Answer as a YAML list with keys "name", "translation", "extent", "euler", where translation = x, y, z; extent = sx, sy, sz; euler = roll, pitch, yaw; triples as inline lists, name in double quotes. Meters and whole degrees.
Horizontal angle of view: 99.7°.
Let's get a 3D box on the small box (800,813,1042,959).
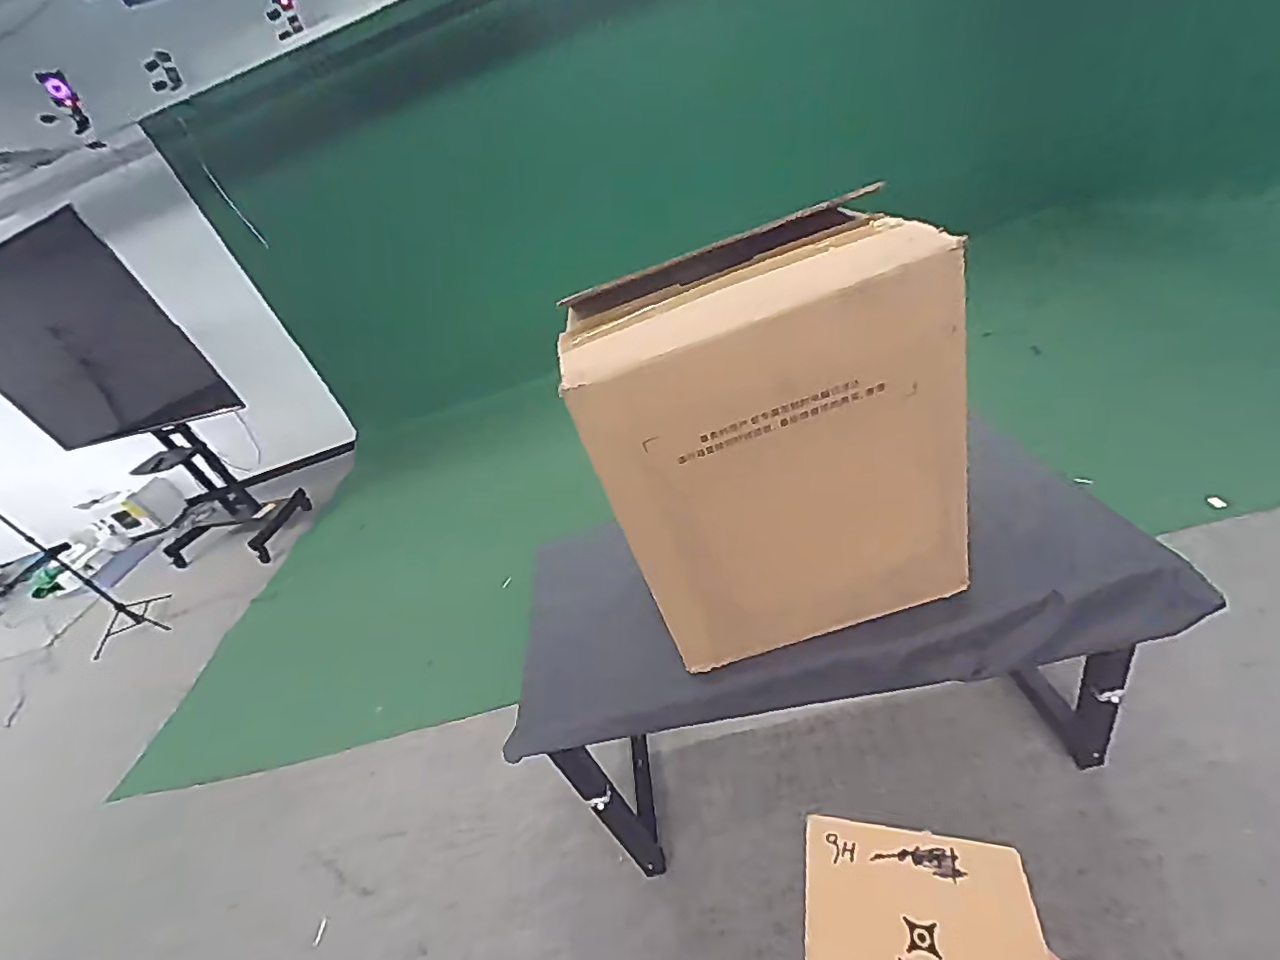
- name: "small box"
  translation: [0.219, 0.416, 0.437]
  extent: [0.168, 0.176, 0.179]
  euler: [-1, 31, 18]
